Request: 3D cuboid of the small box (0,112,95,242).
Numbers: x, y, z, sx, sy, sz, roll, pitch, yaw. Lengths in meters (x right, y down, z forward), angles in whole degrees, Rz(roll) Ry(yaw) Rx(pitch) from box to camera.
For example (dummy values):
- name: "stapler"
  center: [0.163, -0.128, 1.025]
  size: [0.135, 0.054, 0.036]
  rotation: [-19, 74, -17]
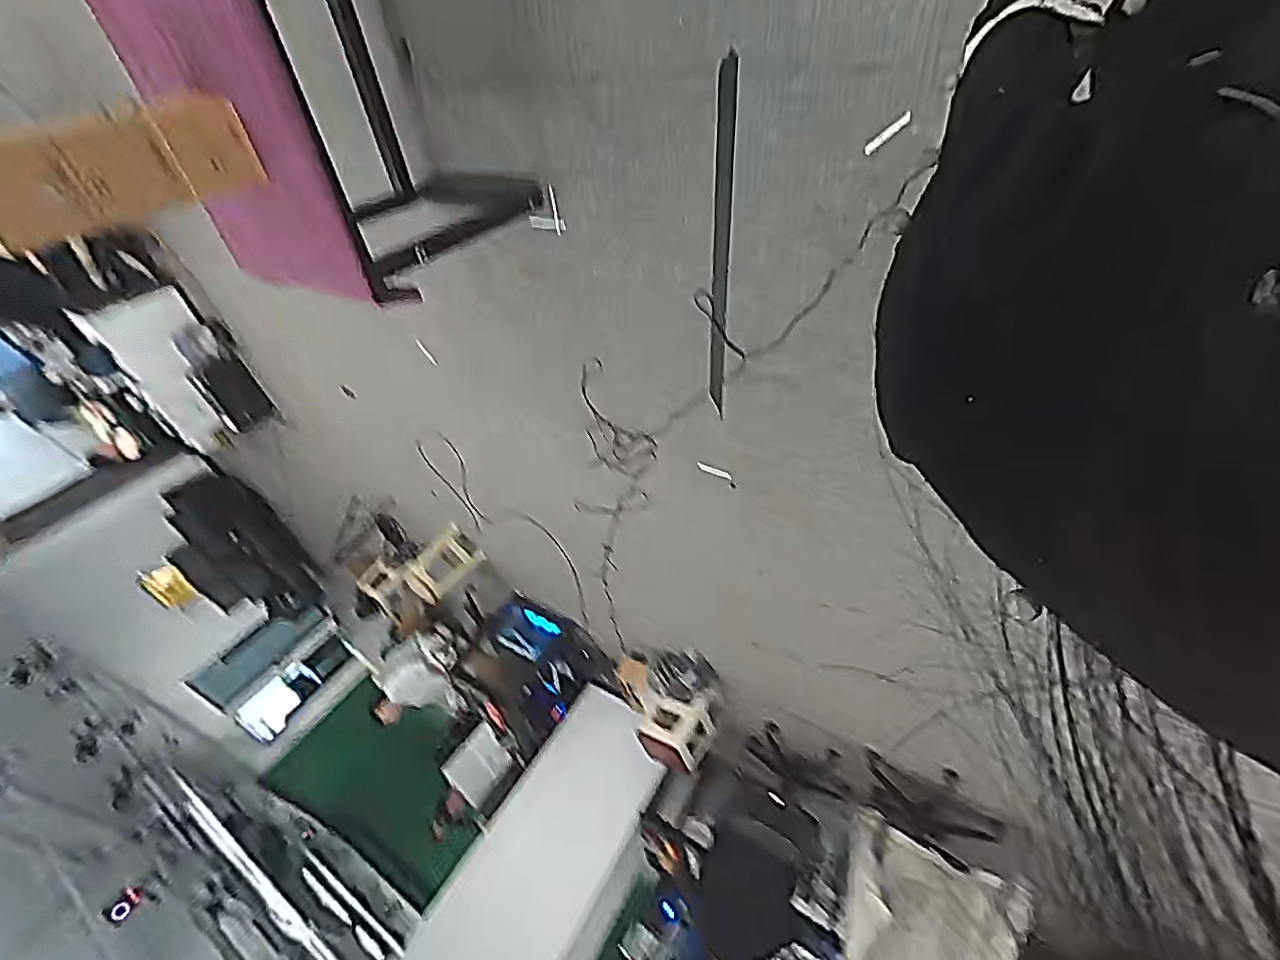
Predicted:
- name: "small box"
  center: [-1.162, -0.551, 0.979]
  size: [0.179, 0.176, 0.168]
  rotation: [21, 139, 24]

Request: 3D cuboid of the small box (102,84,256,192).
- name: "small box"
  center: [-0.985, -0.747, 1.176]
  size: [0.179, 0.176, 0.168]
  rotation: [21, 139, 25]

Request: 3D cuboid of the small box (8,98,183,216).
- name: "small box"
  center: [-1.077, -0.649, 1.081]
  size: [0.179, 0.176, 0.168]
  rotation: [21, 140, 26]
